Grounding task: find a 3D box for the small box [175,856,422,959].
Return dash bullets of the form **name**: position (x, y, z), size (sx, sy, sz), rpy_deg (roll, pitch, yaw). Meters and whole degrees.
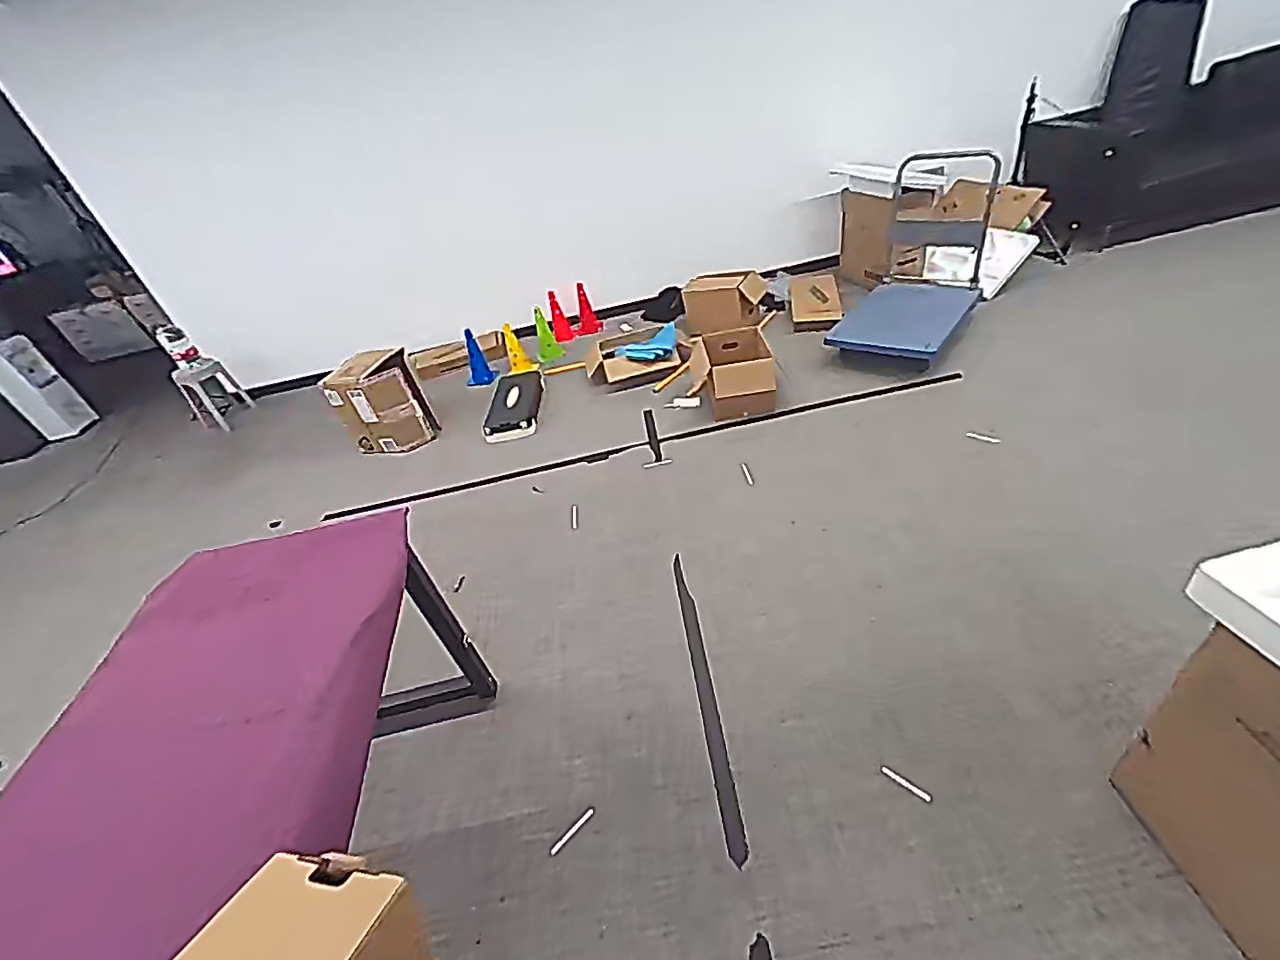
- **small box**: position (-0.314, 0.489, 0.483), size (0.168, 0.176, 0.179), rpy_deg (-3, 15, 16)
